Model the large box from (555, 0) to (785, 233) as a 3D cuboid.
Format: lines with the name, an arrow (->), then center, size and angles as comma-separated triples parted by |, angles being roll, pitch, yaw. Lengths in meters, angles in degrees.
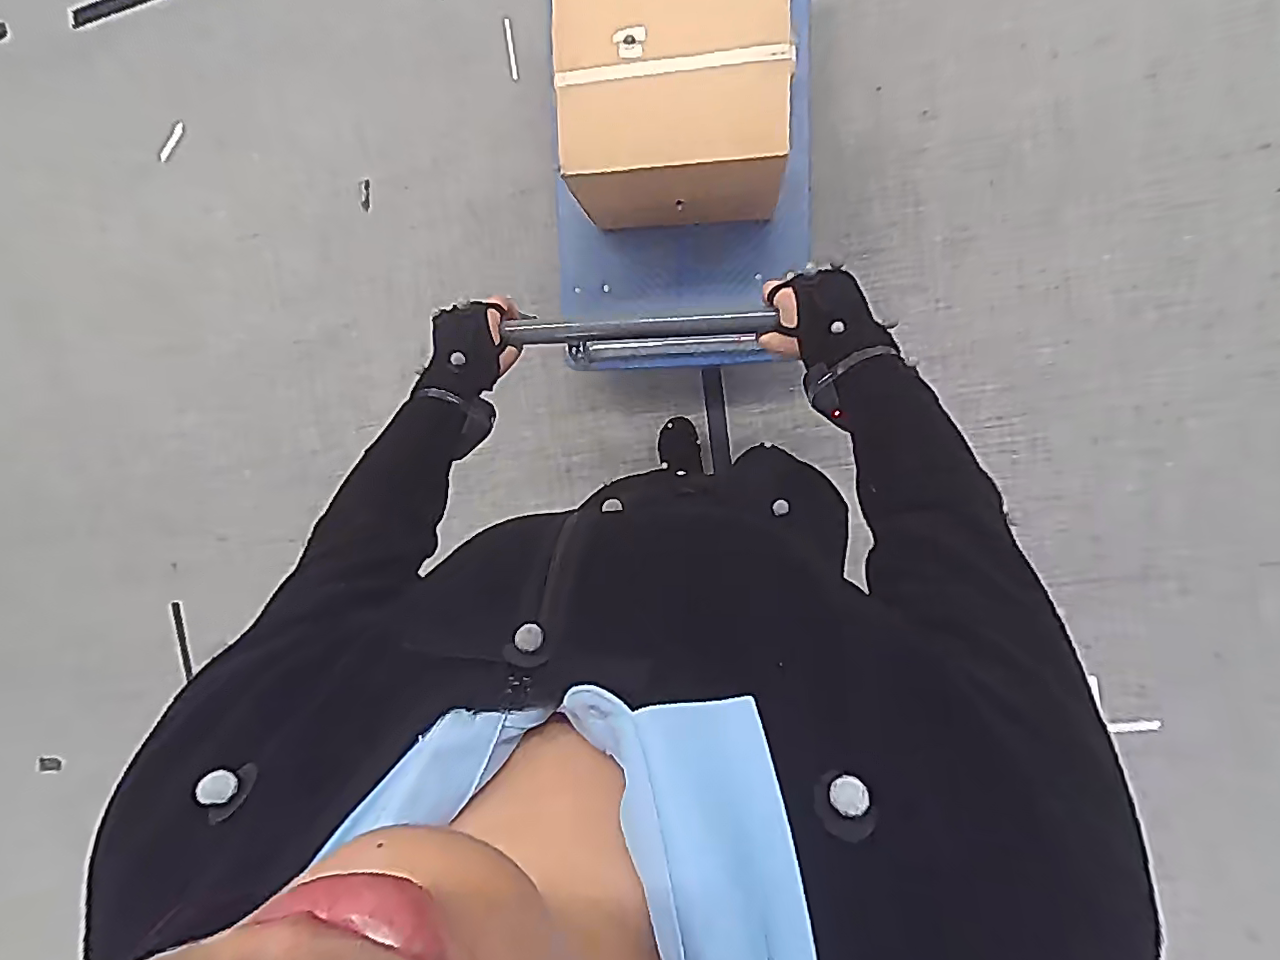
large box -> 0.075, -0.720, 1.093 | 0.408, 0.320, 0.320 | 0, 96, 10
